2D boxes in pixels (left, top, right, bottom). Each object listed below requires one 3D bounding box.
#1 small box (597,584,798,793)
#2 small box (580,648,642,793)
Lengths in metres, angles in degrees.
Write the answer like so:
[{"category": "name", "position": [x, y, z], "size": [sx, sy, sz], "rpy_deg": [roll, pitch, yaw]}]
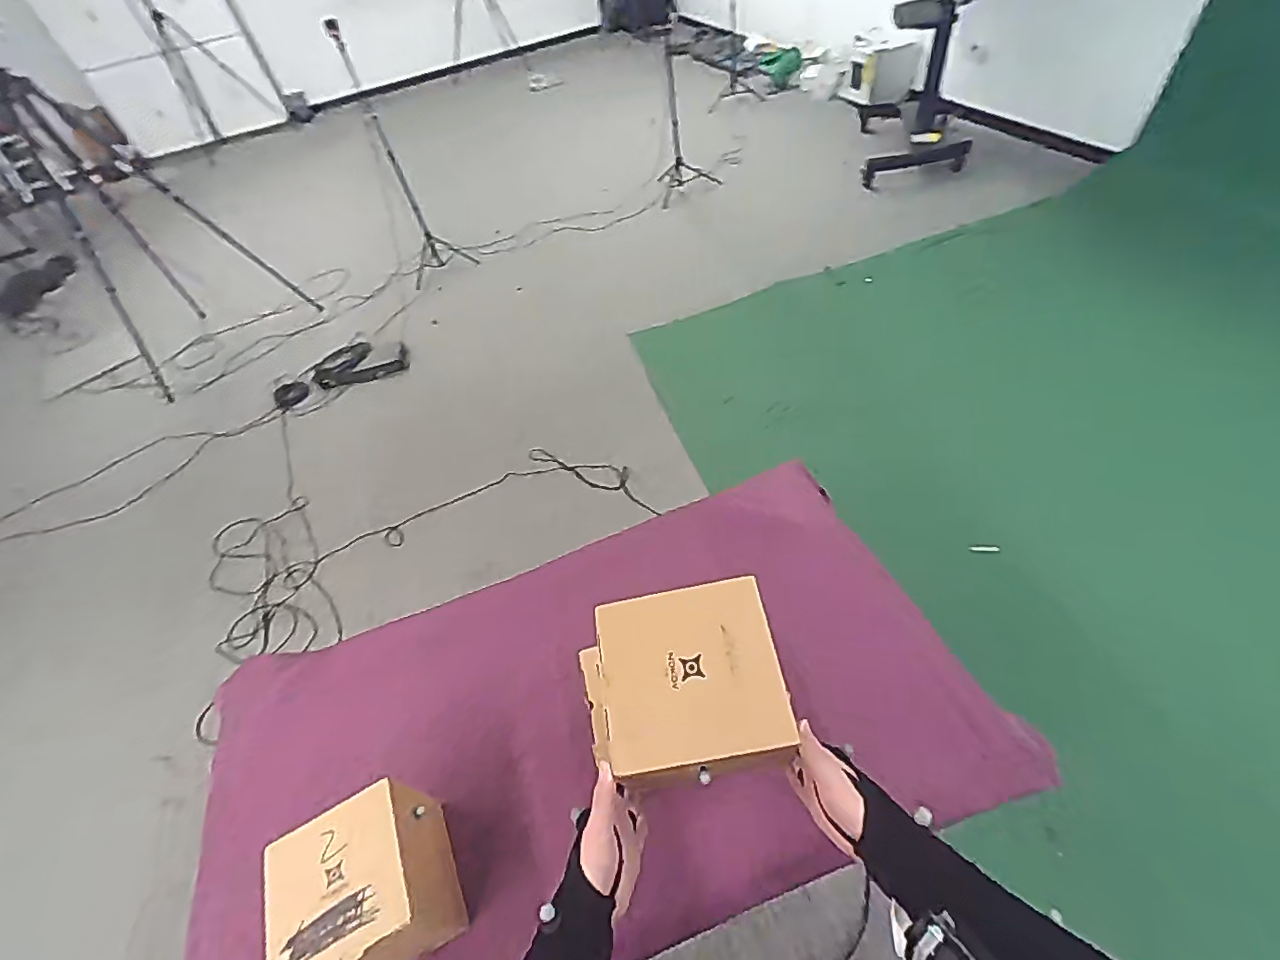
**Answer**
[{"category": "small box", "position": [0.062, 0.234, 0.591], "size": [0.179, 0.176, 0.168], "rpy_deg": [-12, 56, 4]}, {"category": "small box", "position": [0.023, 0.344, 0.808], "size": [0.179, 0.176, 0.168], "rpy_deg": [-15, 49, -2]}]
